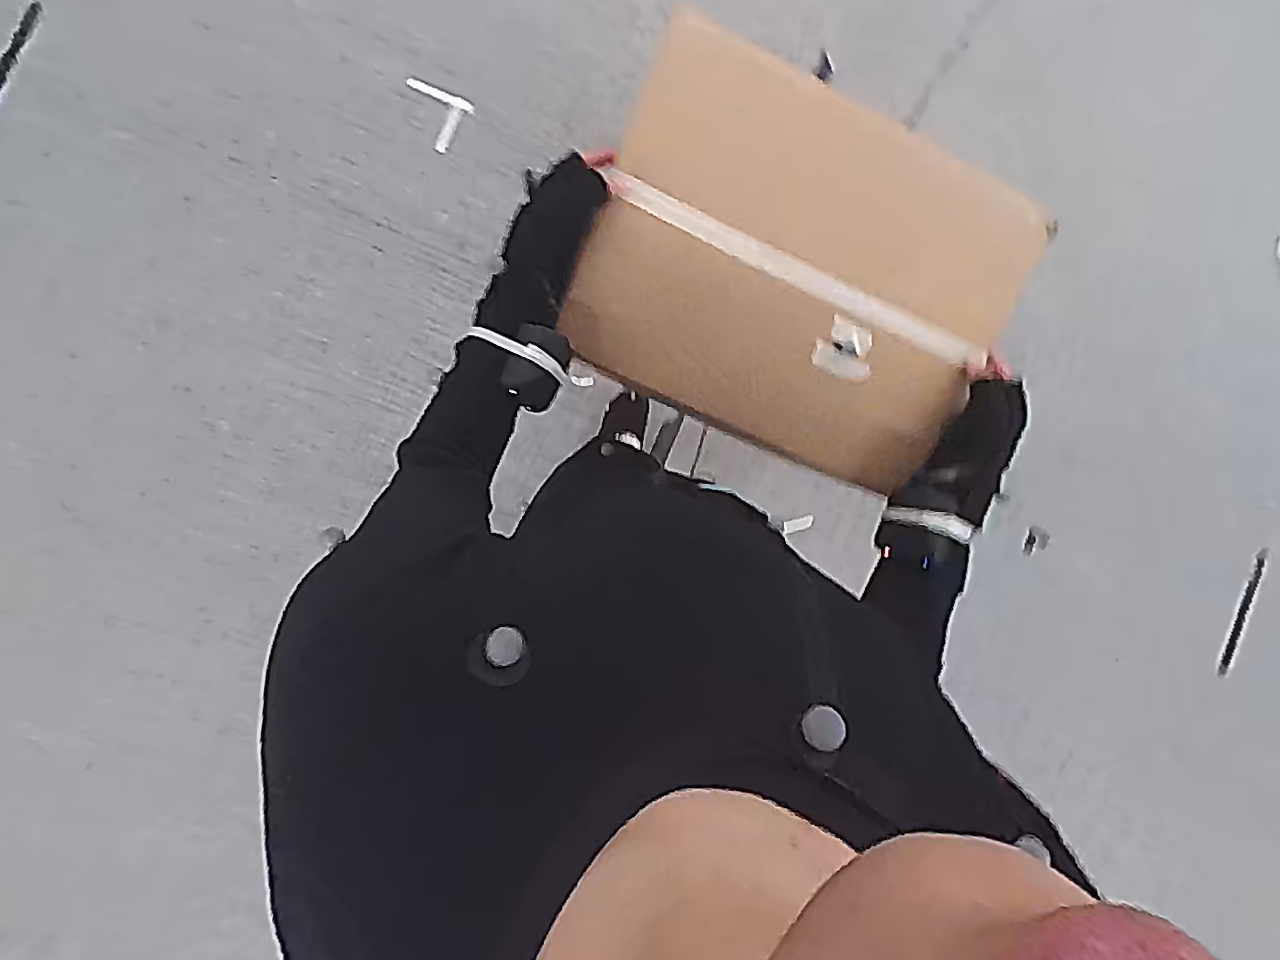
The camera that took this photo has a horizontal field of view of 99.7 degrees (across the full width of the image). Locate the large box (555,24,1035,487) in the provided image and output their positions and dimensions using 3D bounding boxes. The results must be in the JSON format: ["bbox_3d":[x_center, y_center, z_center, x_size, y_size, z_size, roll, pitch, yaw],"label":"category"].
[{"bbox_3d":[0.144,-0.228,0.679,0.408,0.320,0.320,24,98,-7],"label":"large box"}]
